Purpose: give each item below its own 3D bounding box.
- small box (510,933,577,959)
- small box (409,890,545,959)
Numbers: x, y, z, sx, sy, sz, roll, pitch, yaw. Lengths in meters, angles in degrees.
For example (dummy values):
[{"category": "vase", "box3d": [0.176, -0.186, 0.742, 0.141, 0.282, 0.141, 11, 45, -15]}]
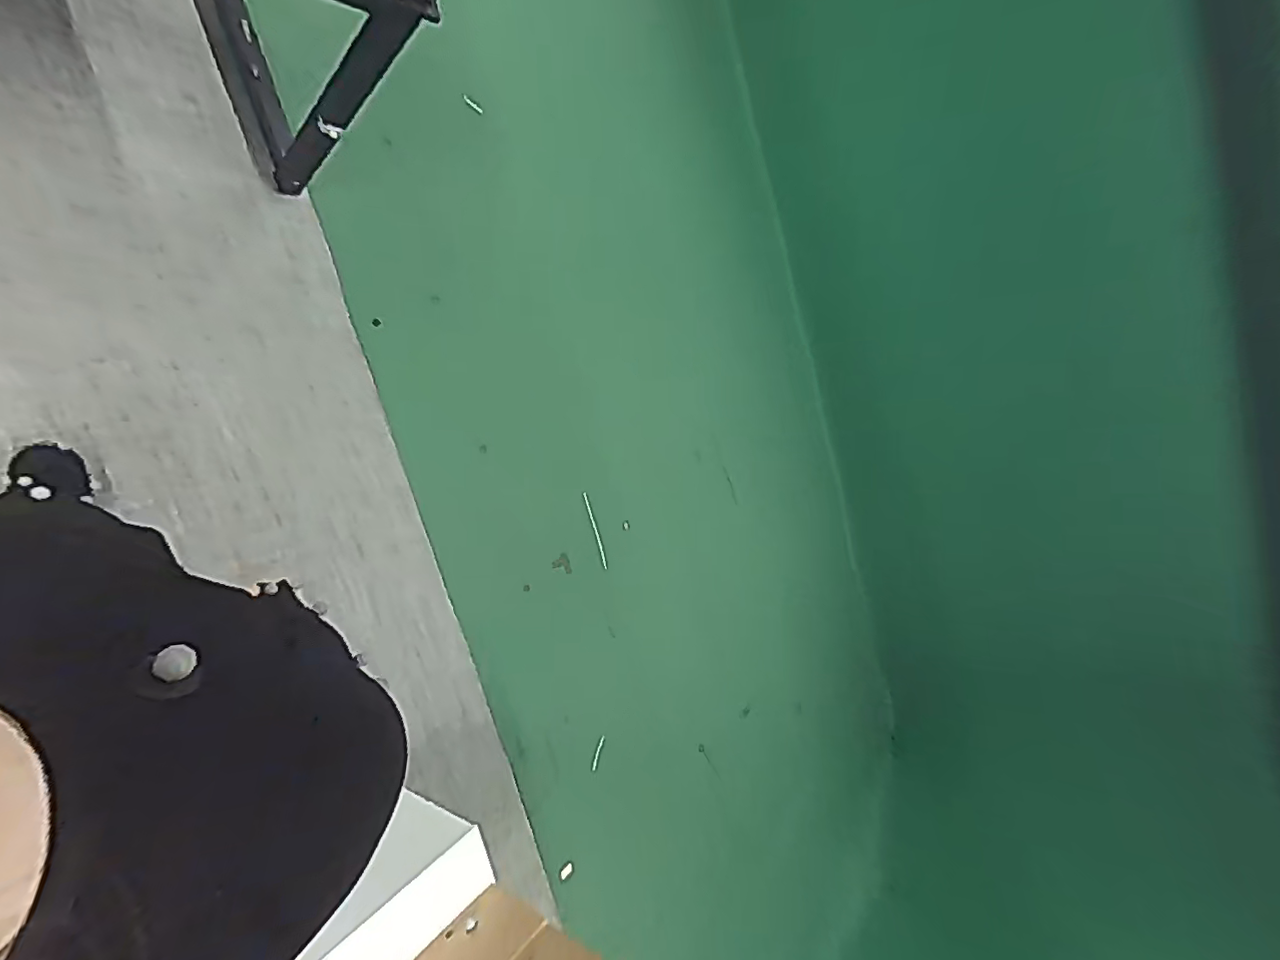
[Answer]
[{"category": "small box", "box3d": [-0.136, 0.830, 0.789, 0.168, 0.176, 0.179, -20, 98, -48]}, {"category": "small box", "box3d": [-0.256, 0.843, 0.900, 0.168, 0.176, 0.179, -21, 99, -48]}]
